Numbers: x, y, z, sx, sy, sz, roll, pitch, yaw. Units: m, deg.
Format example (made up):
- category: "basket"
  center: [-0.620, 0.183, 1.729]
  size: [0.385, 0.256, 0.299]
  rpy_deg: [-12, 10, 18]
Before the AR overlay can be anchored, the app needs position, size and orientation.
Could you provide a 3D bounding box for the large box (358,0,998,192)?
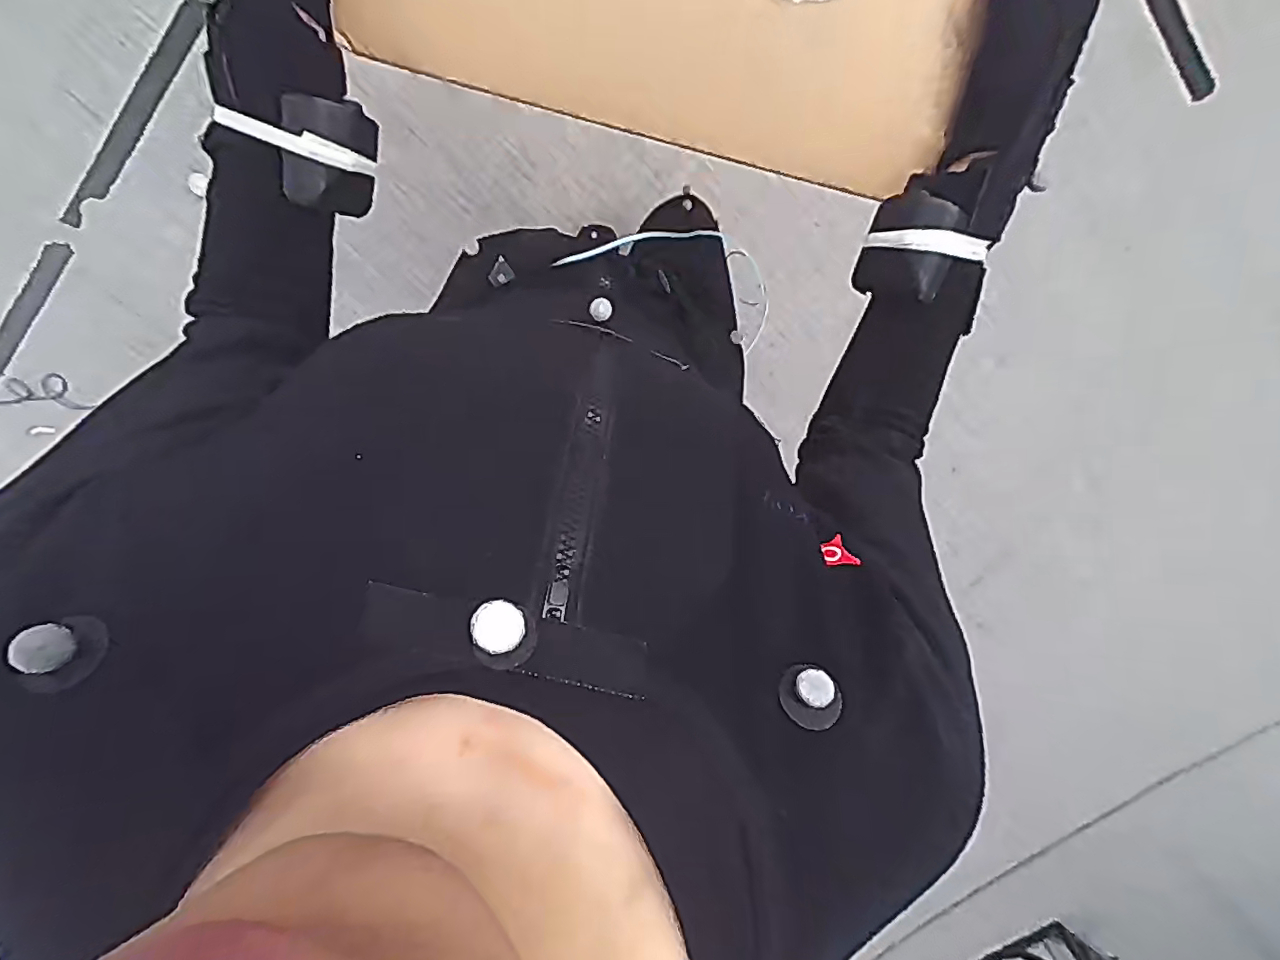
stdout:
- category: "large box"
  center: [0.039, -0.457, 0.413]
  size: [0.408, 0.320, 0.320]
  rpy_deg: [10, 127, -10]
